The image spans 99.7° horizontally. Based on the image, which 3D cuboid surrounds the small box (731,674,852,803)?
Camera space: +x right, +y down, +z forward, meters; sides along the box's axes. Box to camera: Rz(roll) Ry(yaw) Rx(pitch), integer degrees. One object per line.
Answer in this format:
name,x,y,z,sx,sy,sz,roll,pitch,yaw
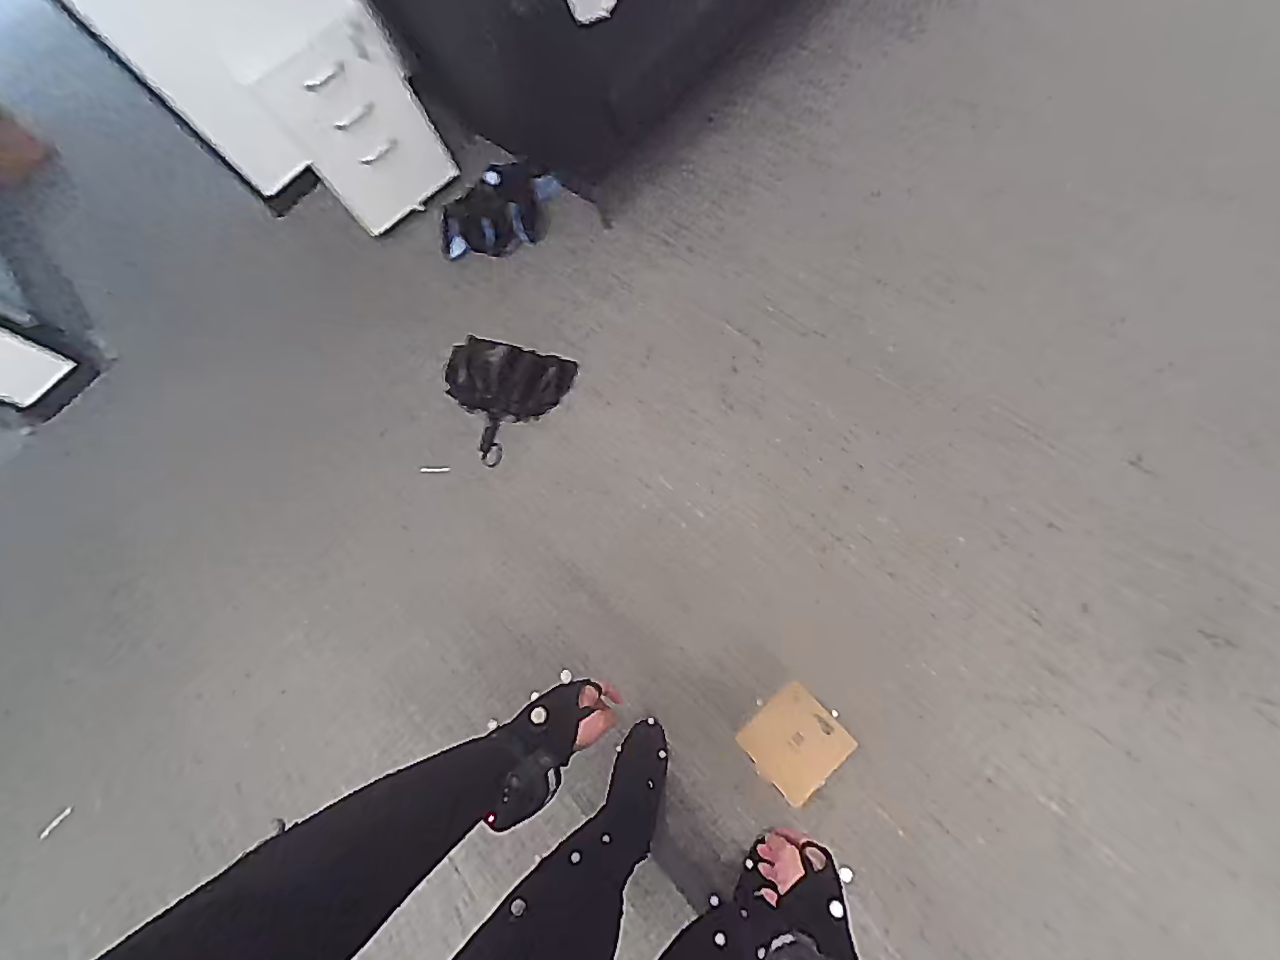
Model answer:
small box,0.317,0.535,1.138,0.179,0.176,0.168,-43,66,-5
